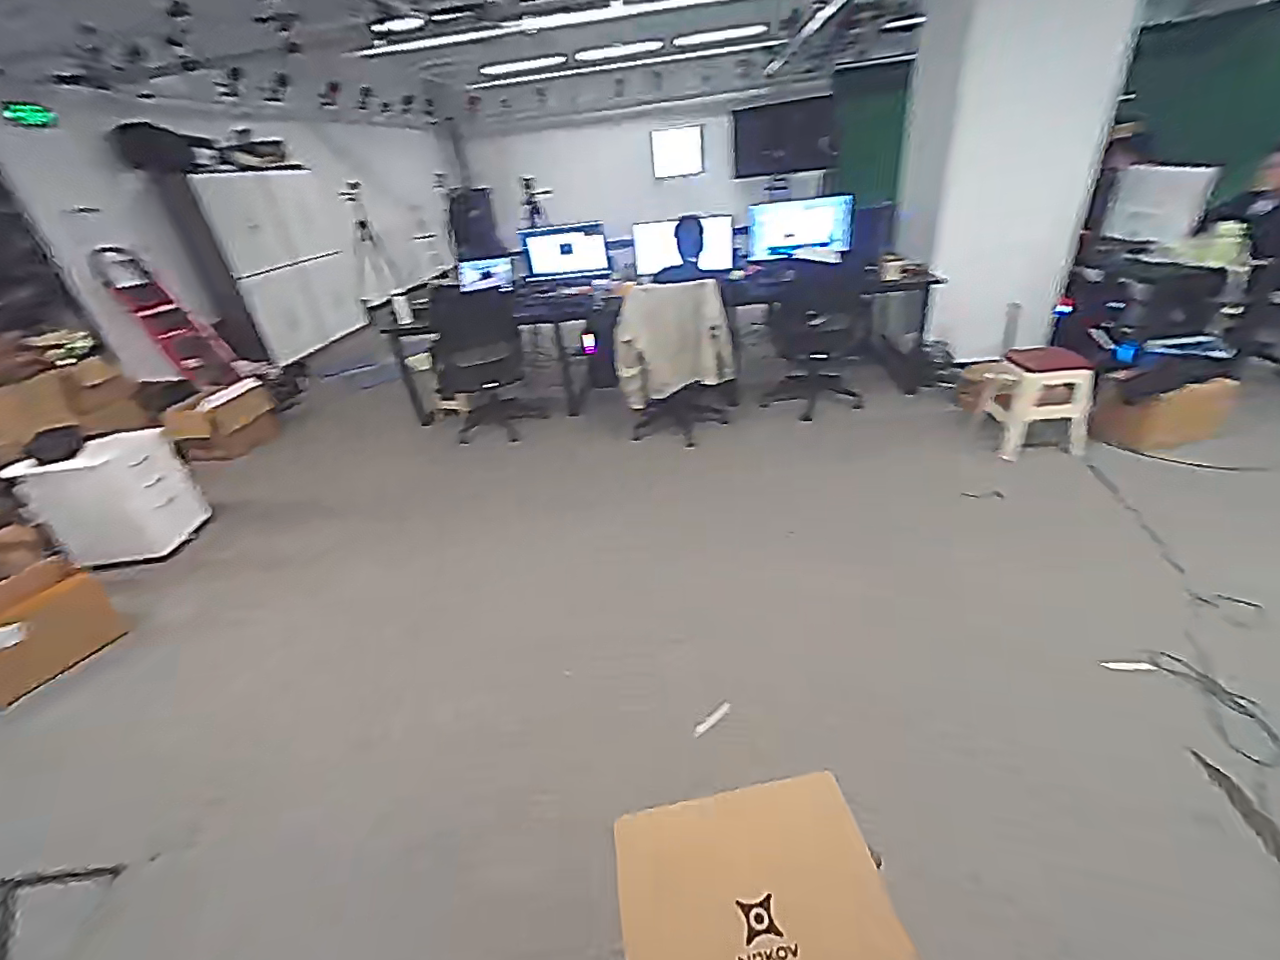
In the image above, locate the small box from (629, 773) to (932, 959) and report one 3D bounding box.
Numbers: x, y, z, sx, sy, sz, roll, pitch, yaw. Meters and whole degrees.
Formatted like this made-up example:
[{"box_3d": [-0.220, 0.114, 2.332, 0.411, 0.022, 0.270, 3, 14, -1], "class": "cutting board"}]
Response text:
[{"box_3d": [0.089, 0.336, 0.357, 0.168, 0.176, 0.179, -10, 30, -1], "class": "small box"}]
